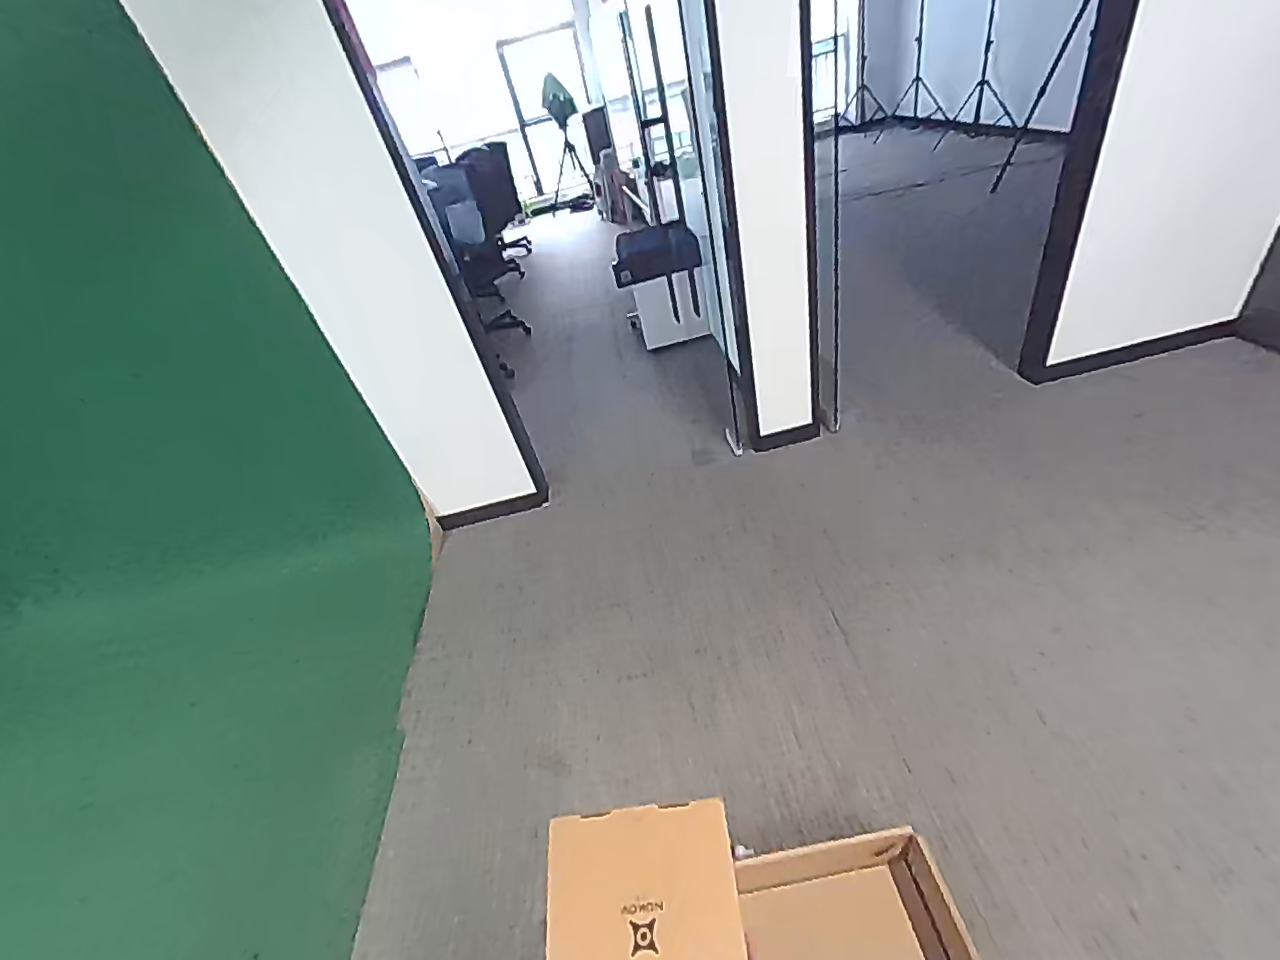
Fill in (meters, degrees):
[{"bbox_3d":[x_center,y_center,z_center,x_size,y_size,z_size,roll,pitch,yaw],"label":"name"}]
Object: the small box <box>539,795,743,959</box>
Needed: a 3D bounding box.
[{"bbox_3d":[0.008,0.414,0.503,0.168,0.176,0.179,-8,49,2],"label":"small box"}]
